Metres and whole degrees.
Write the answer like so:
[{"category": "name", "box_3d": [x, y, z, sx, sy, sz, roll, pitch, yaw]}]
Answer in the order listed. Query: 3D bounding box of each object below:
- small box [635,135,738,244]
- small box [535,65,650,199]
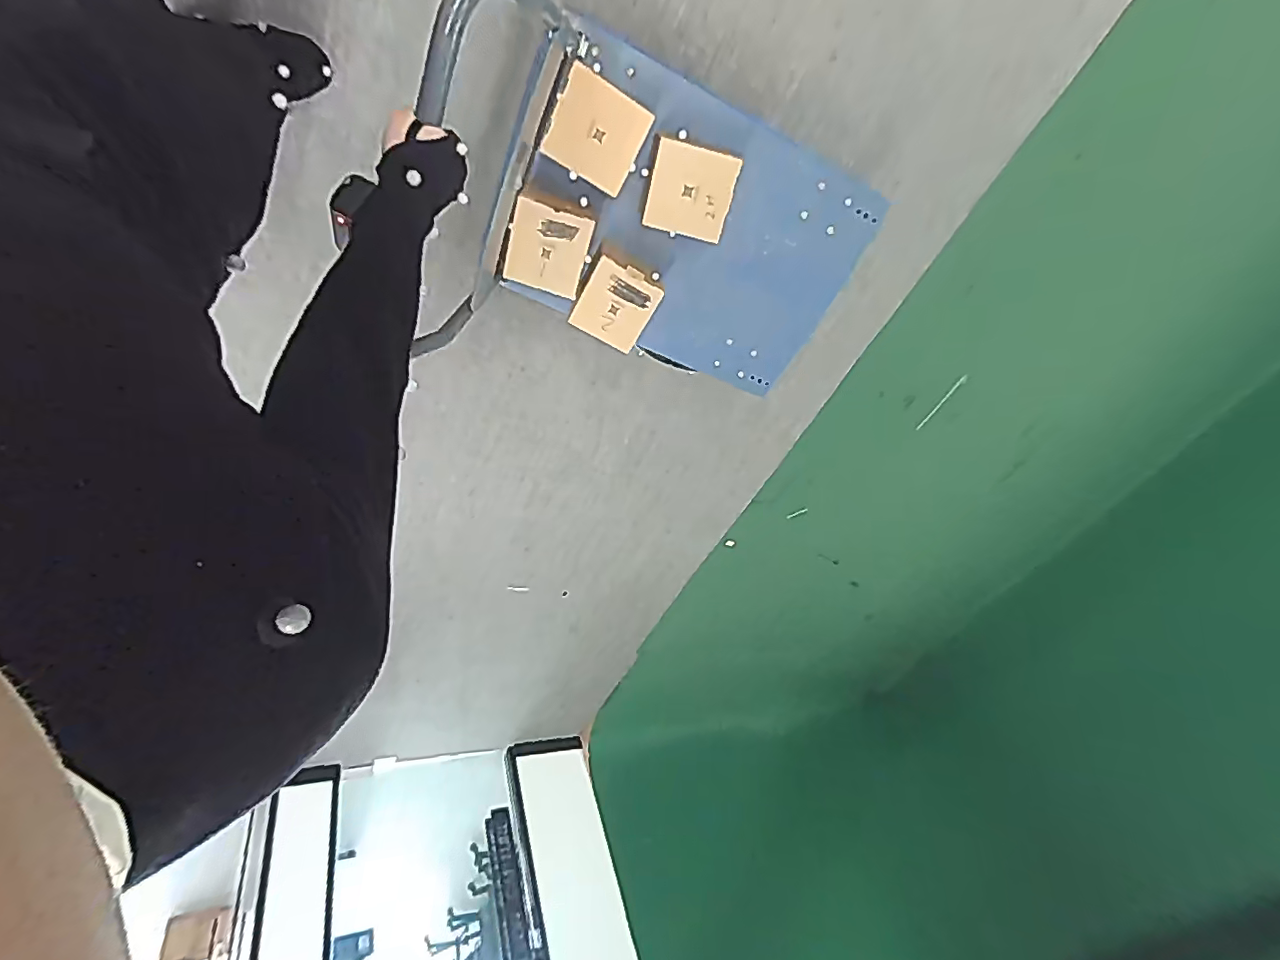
[{"category": "small box", "box_3d": [0.091, -0.639, 1.185, 0.179, 0.176, 0.168, 10, 125, -11]}, {"category": "small box", "box_3d": [-0.096, -0.719, 1.117, 0.179, 0.176, 0.168, 24, 121, -19]}]
